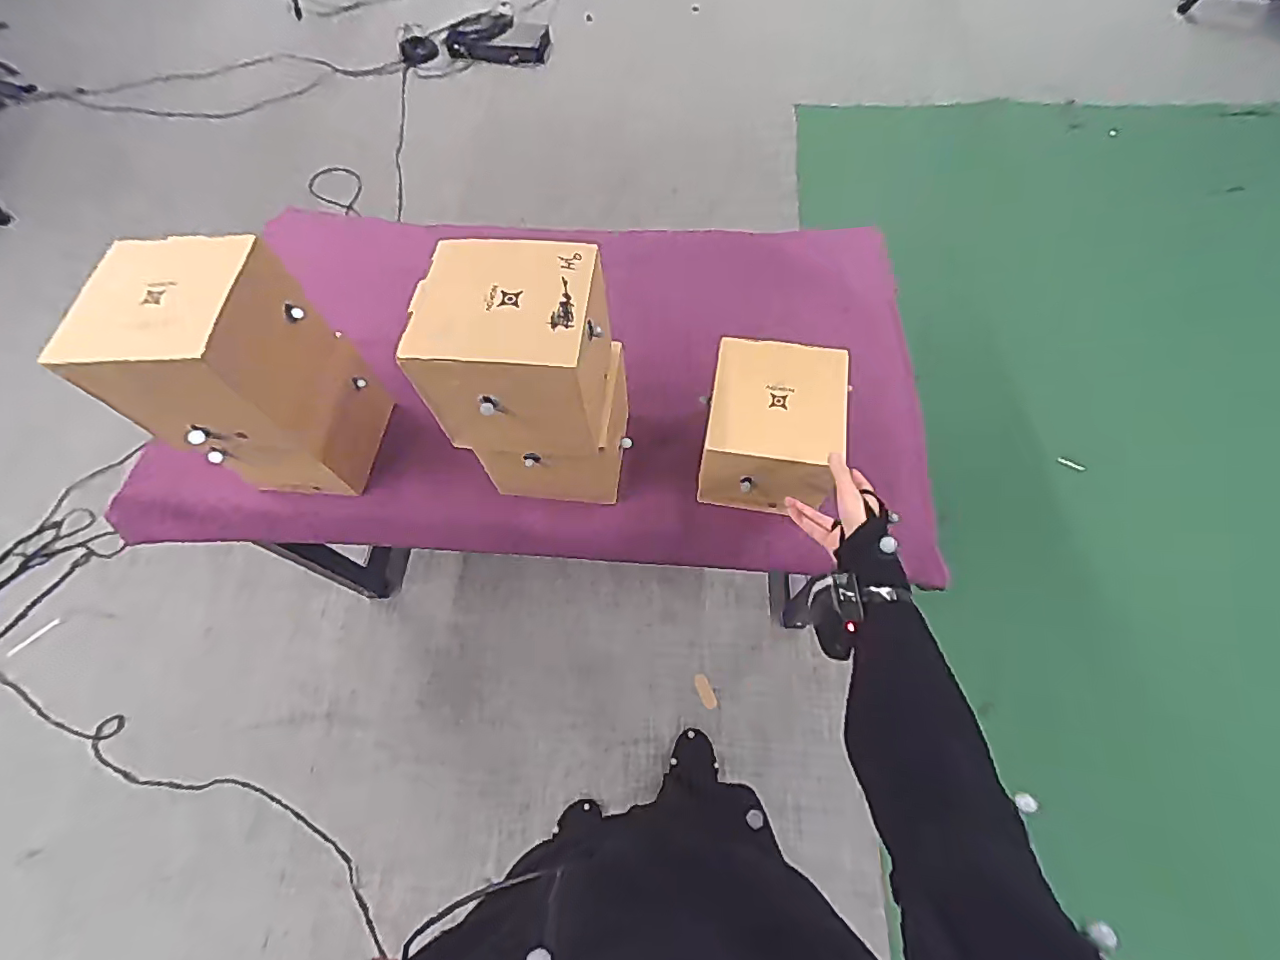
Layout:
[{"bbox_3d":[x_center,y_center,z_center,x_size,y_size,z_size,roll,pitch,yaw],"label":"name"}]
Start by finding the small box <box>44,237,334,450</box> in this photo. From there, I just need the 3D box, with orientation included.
[{"bbox_3d":[-0.489,-0.152,0.625,0.168,0.176,0.179,-1,63,2],"label":"small box"}]

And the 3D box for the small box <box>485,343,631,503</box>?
[{"bbox_3d":[-0.111,-0.079,0.757,0.179,0.176,0.168,5,64,4],"label":"small box"}]

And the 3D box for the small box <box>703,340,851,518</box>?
[{"bbox_3d":[0.179,-0.062,0.737,0.168,0.176,0.179,8,64,7],"label":"small box"}]

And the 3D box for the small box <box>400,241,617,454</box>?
[{"bbox_3d":[-0.128,-0.140,0.605,0.179,0.176,0.168,3,63,5],"label":"small box"}]
